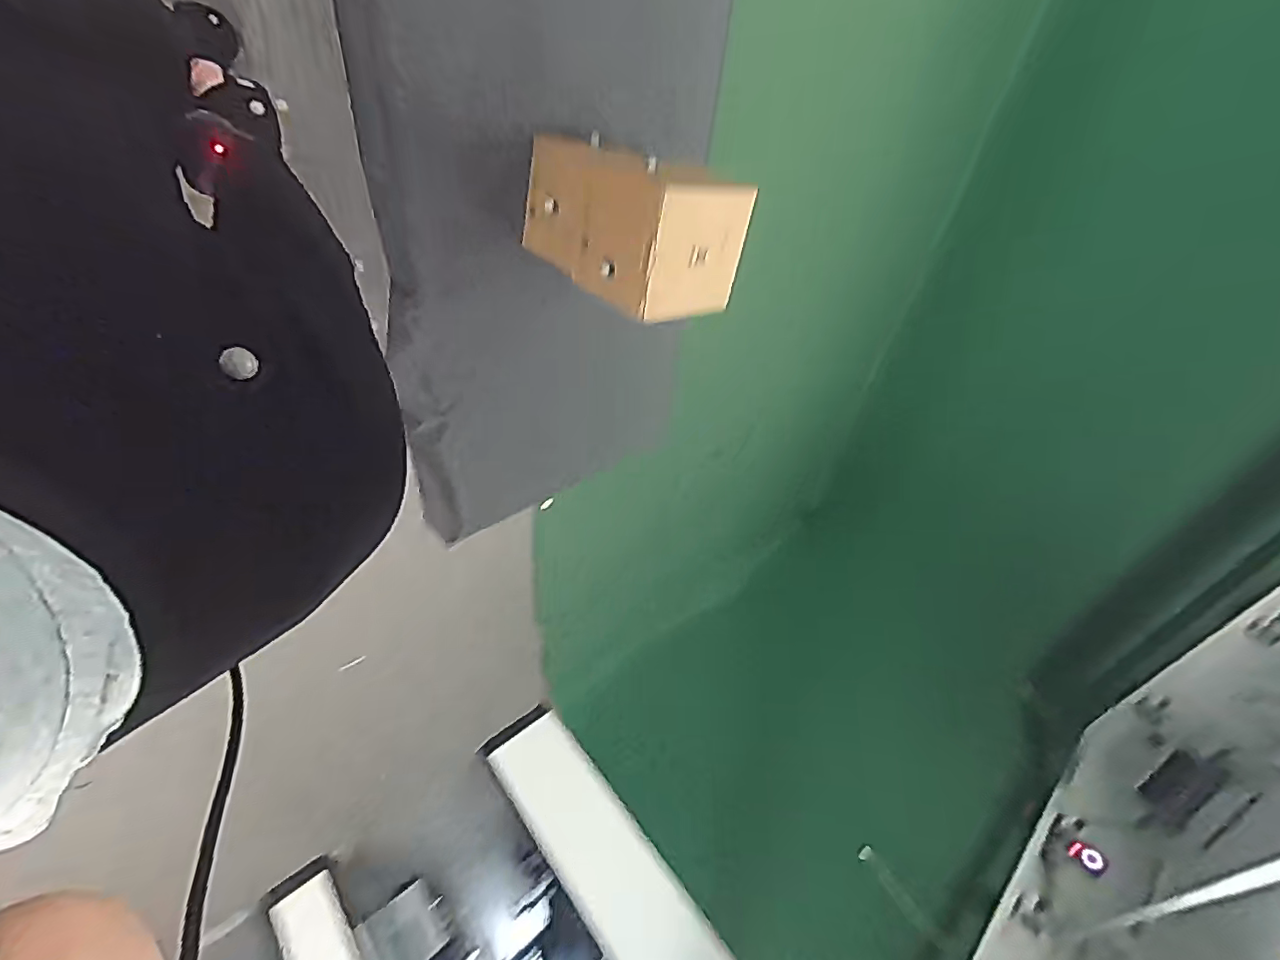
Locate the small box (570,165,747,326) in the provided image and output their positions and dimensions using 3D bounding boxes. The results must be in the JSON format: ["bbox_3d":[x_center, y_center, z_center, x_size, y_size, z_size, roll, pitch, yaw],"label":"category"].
[{"bbox_3d":[0.017,-0.340,0.778,0.179,0.176,0.168,-23,140,-37],"label":"small box"}]

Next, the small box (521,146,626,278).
[{"bbox_3d":[-0.074,-0.428,0.883,0.179,0.176,0.168,-17,136,-41],"label":"small box"}]
